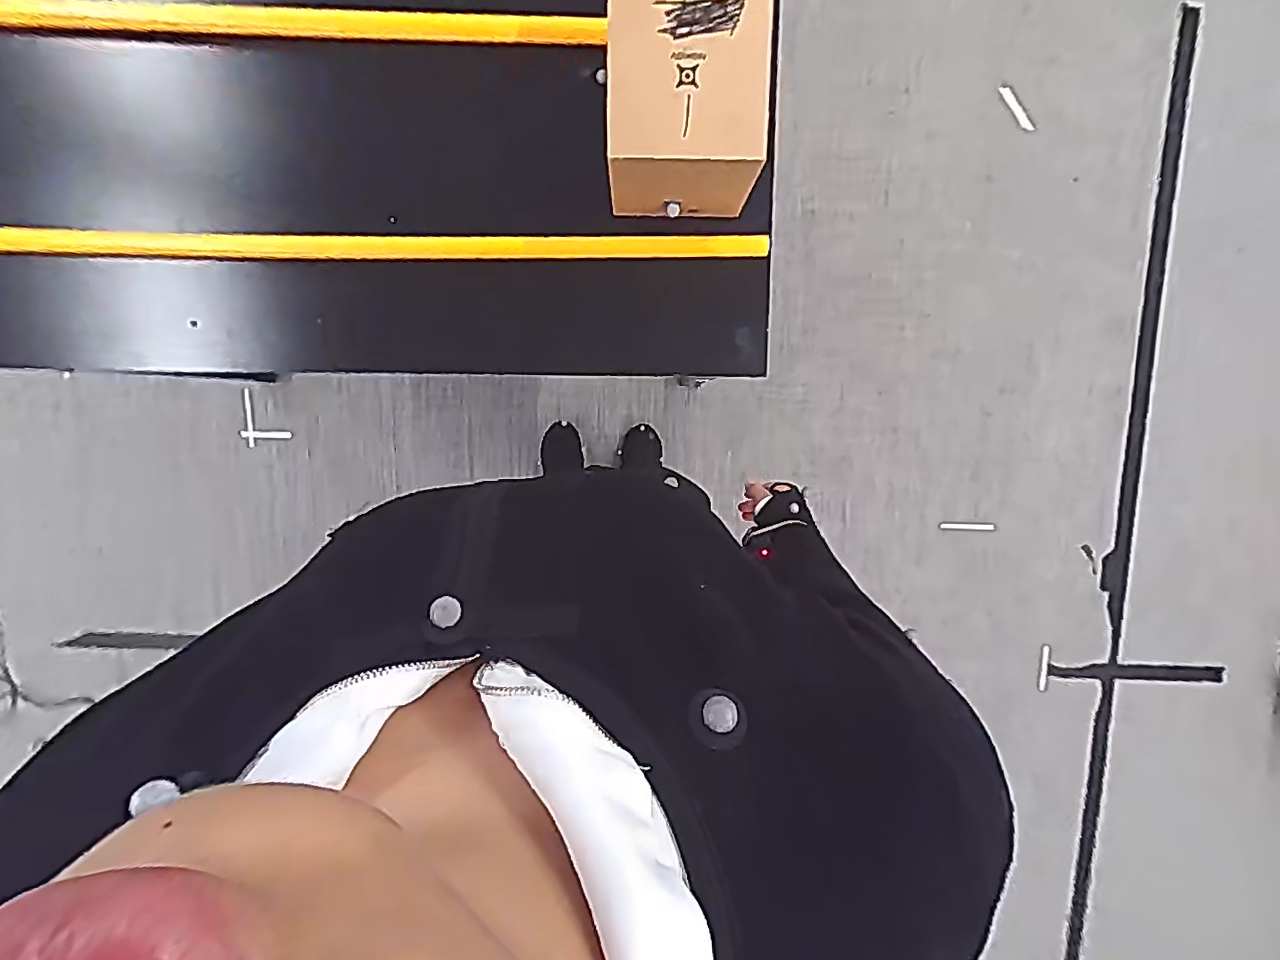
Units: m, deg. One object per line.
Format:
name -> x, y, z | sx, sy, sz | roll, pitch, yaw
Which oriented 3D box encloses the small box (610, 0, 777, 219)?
small box -> 0.052, -0.425, 0.624 | 0.168, 0.176, 0.179 | 2, 98, 0
